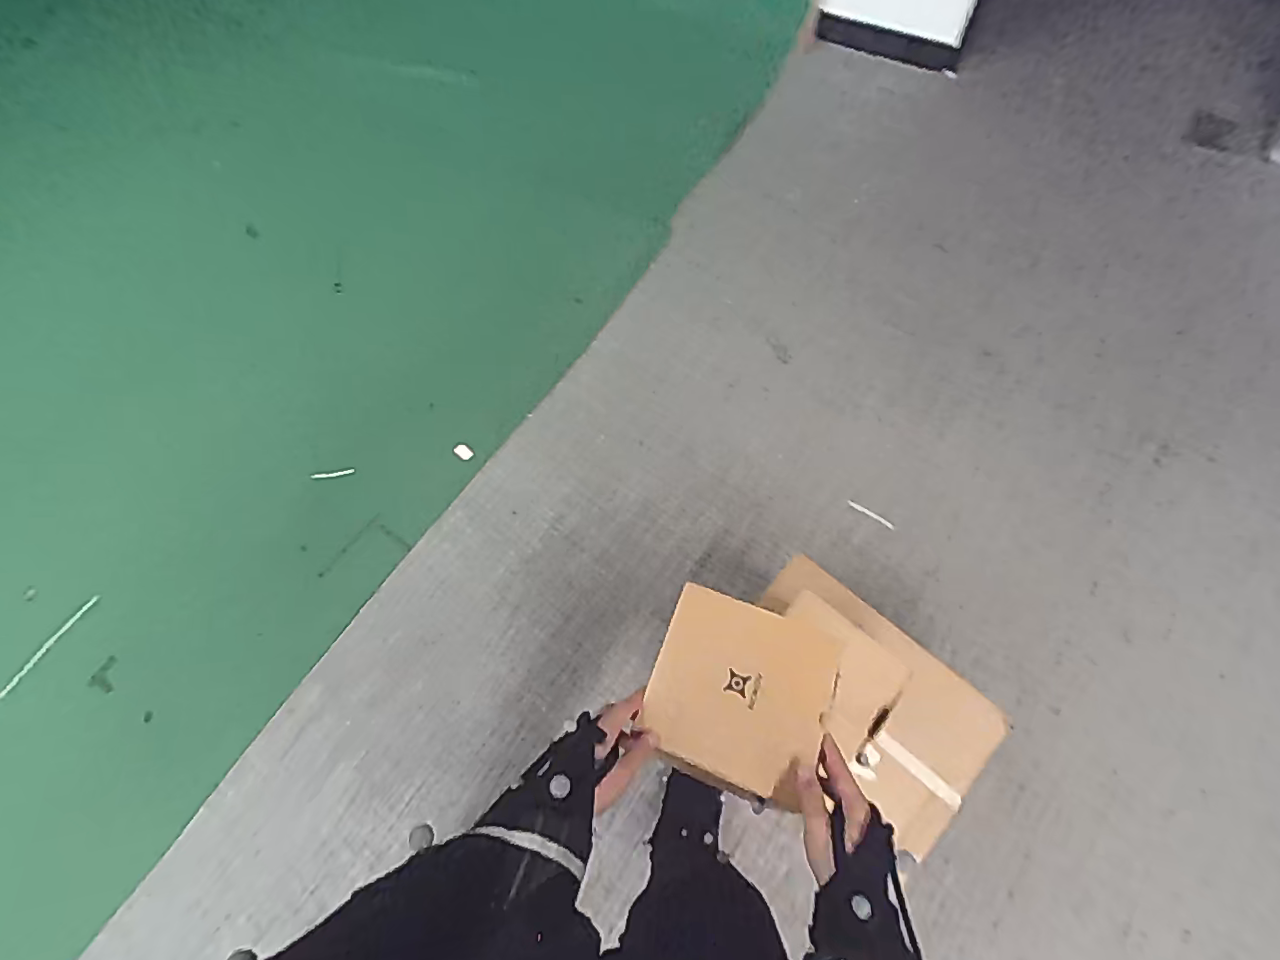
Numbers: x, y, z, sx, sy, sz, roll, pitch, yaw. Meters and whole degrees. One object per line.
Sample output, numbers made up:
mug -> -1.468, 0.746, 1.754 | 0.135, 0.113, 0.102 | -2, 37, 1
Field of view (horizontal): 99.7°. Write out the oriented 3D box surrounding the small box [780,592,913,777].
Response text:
small box -> 0.251, 0.292, 0.791 | 0.179, 0.176, 0.168 | 38, 77, 19

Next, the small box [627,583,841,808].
small box -> 0.097, 0.242, 0.596 | 0.179, 0.176, 0.168 | 18, 61, 11

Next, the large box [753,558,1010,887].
large box -> 0.337, 0.409, 0.997 | 0.408, 0.320, 0.320 | 39, 79, 18
